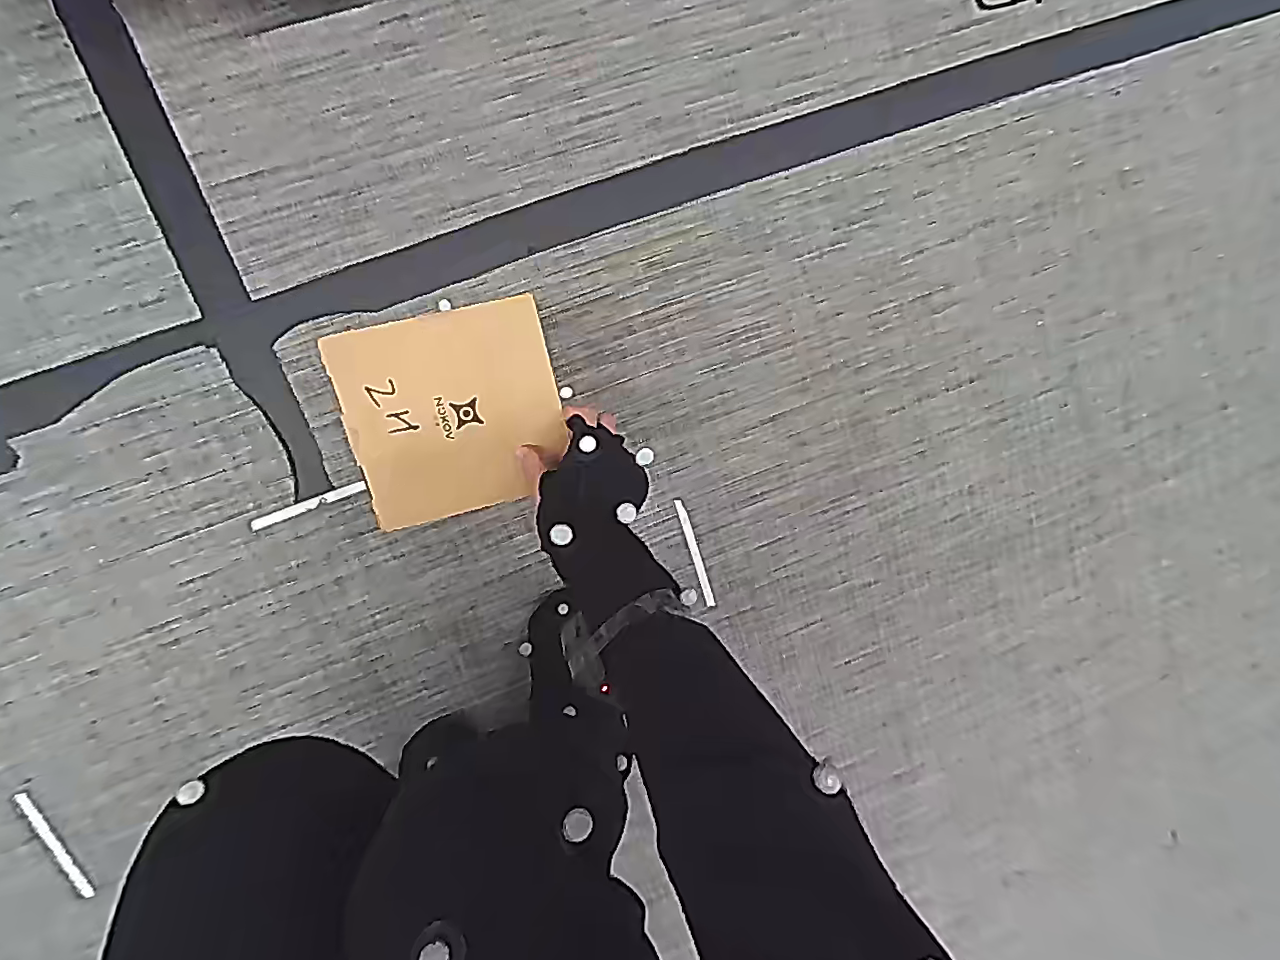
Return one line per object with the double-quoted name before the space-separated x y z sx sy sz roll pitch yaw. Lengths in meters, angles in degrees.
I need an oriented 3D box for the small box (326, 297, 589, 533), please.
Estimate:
"small box" -0.160 -0.068 0.523 0.179 0.176 0.168 -15 102 -9
